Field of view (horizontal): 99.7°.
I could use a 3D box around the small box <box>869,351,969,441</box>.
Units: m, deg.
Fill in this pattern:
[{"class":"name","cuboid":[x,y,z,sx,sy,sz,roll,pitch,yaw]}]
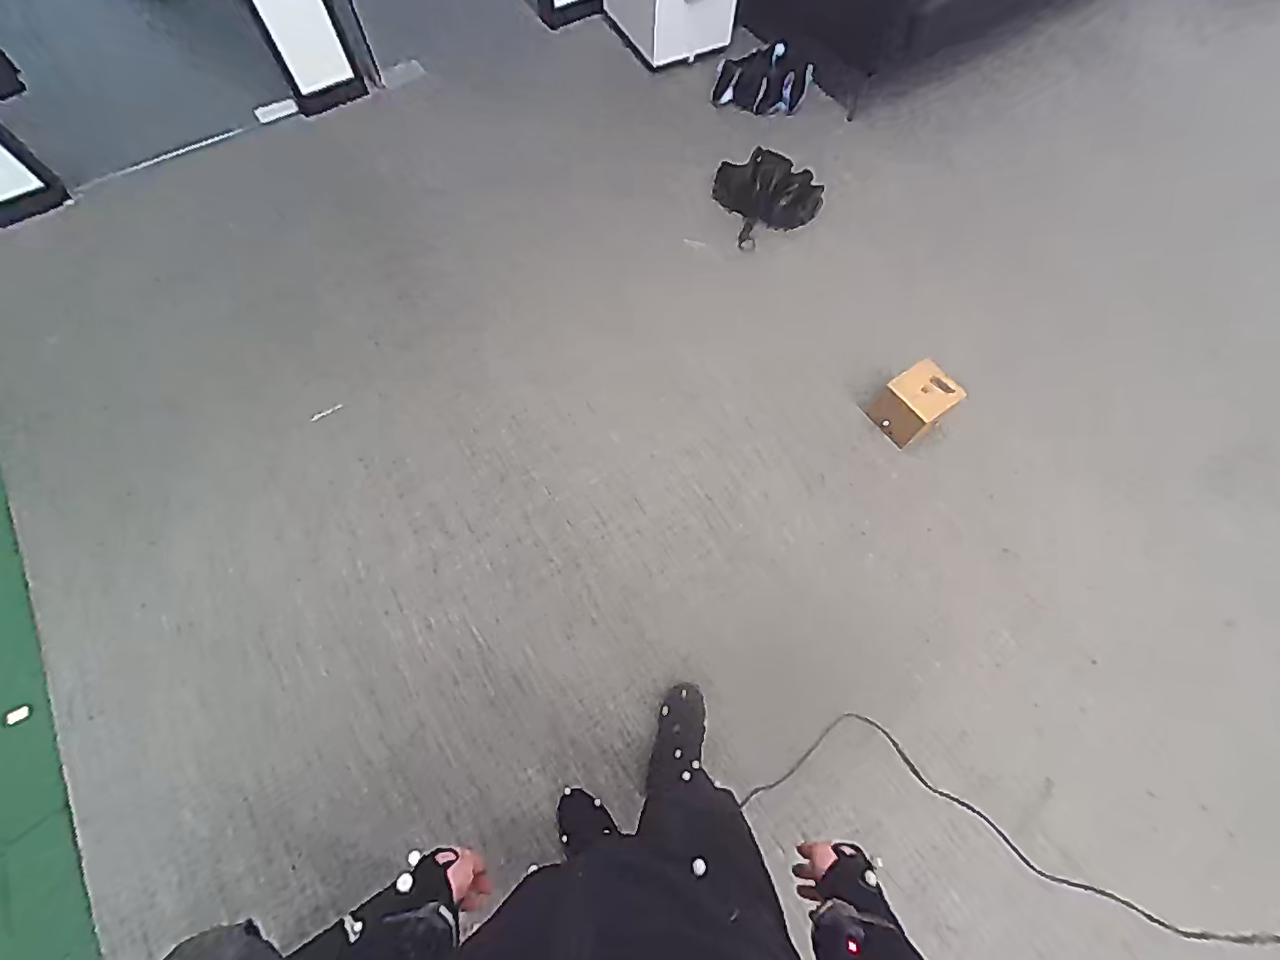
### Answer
[{"class":"small box","cuboid":[0.831,-0.248,1.630,0.179,0.176,0.168,-32,71,-12]}]
